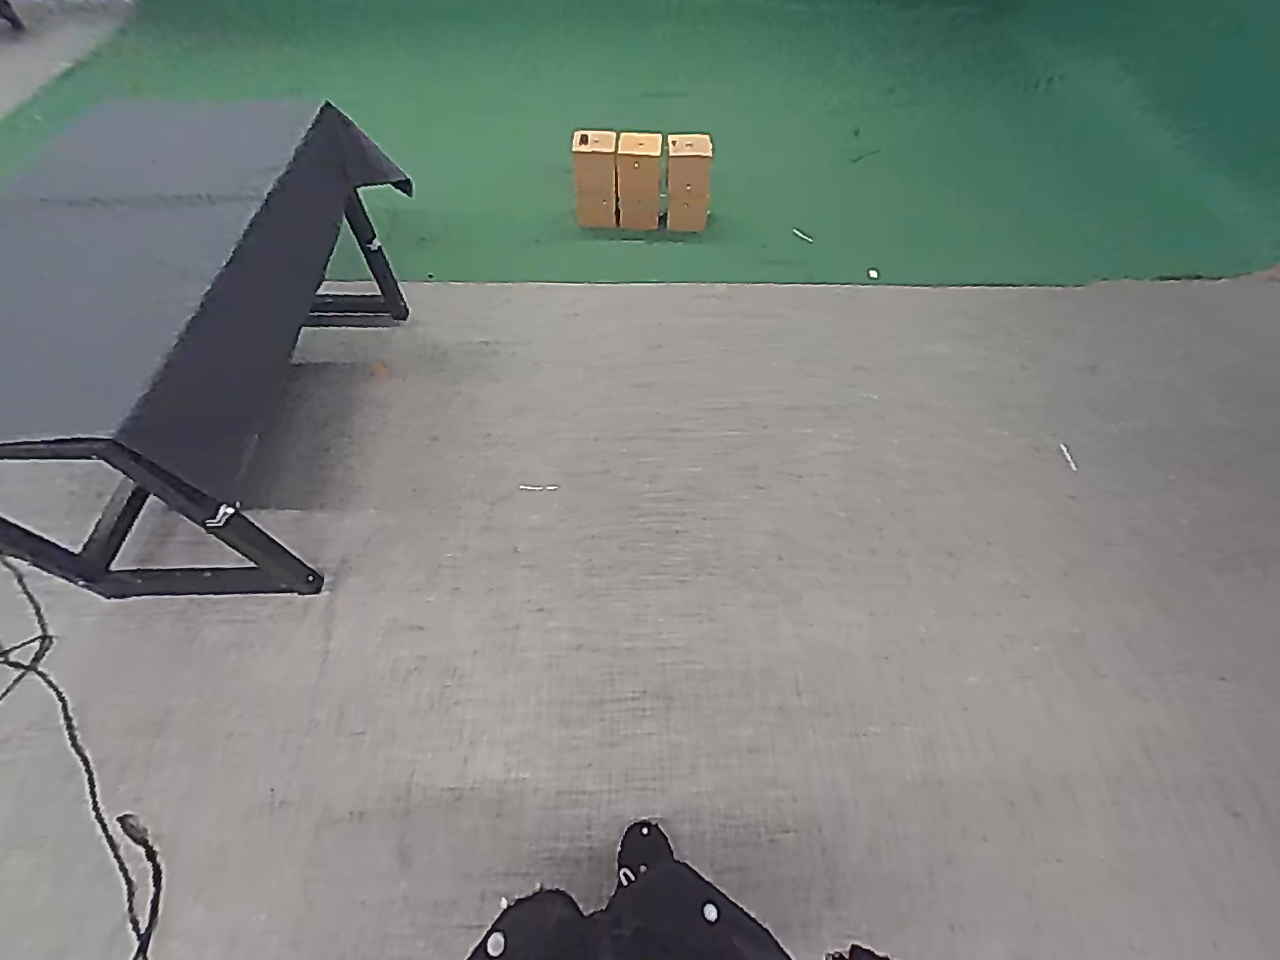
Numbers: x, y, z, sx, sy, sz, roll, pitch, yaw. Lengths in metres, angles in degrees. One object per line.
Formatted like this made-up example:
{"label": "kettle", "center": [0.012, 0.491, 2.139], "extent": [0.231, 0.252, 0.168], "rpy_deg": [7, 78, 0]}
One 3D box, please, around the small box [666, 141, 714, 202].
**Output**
{"label": "small box", "center": [0.208, -1.303, 2.290], "extent": [0.179, 0.176, 0.168], "rpy_deg": [1, 57, -2]}
